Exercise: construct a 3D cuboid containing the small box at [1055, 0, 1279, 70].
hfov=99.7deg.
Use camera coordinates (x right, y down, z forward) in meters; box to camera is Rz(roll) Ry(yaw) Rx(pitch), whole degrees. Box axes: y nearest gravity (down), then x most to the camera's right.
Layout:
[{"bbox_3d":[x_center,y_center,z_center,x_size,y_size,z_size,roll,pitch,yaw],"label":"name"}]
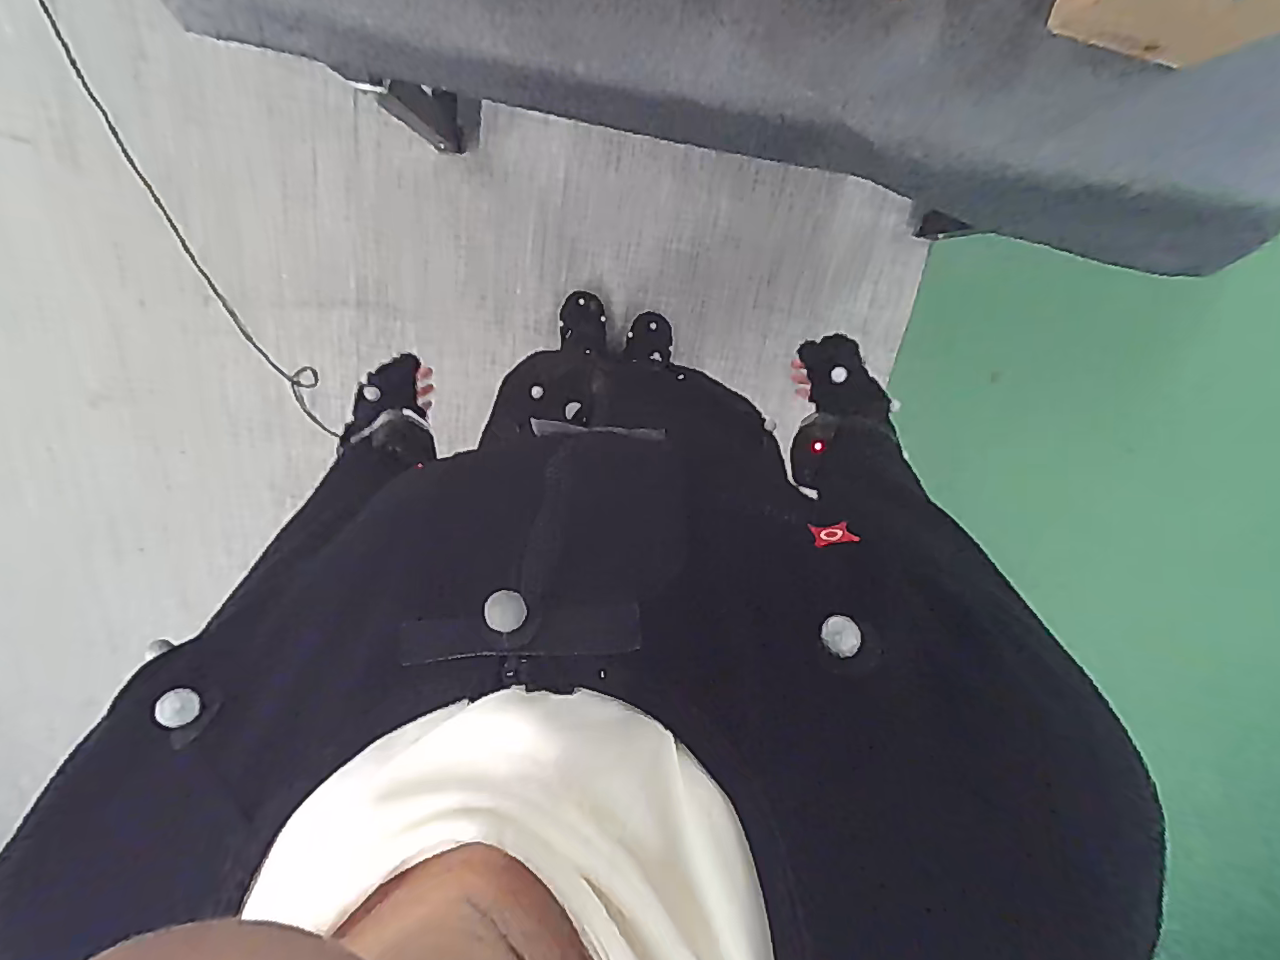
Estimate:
[{"bbox_3d":[0.517,-0.503,0.465,0.168,0.176,0.179,10,108,-6],"label":"small box"}]
